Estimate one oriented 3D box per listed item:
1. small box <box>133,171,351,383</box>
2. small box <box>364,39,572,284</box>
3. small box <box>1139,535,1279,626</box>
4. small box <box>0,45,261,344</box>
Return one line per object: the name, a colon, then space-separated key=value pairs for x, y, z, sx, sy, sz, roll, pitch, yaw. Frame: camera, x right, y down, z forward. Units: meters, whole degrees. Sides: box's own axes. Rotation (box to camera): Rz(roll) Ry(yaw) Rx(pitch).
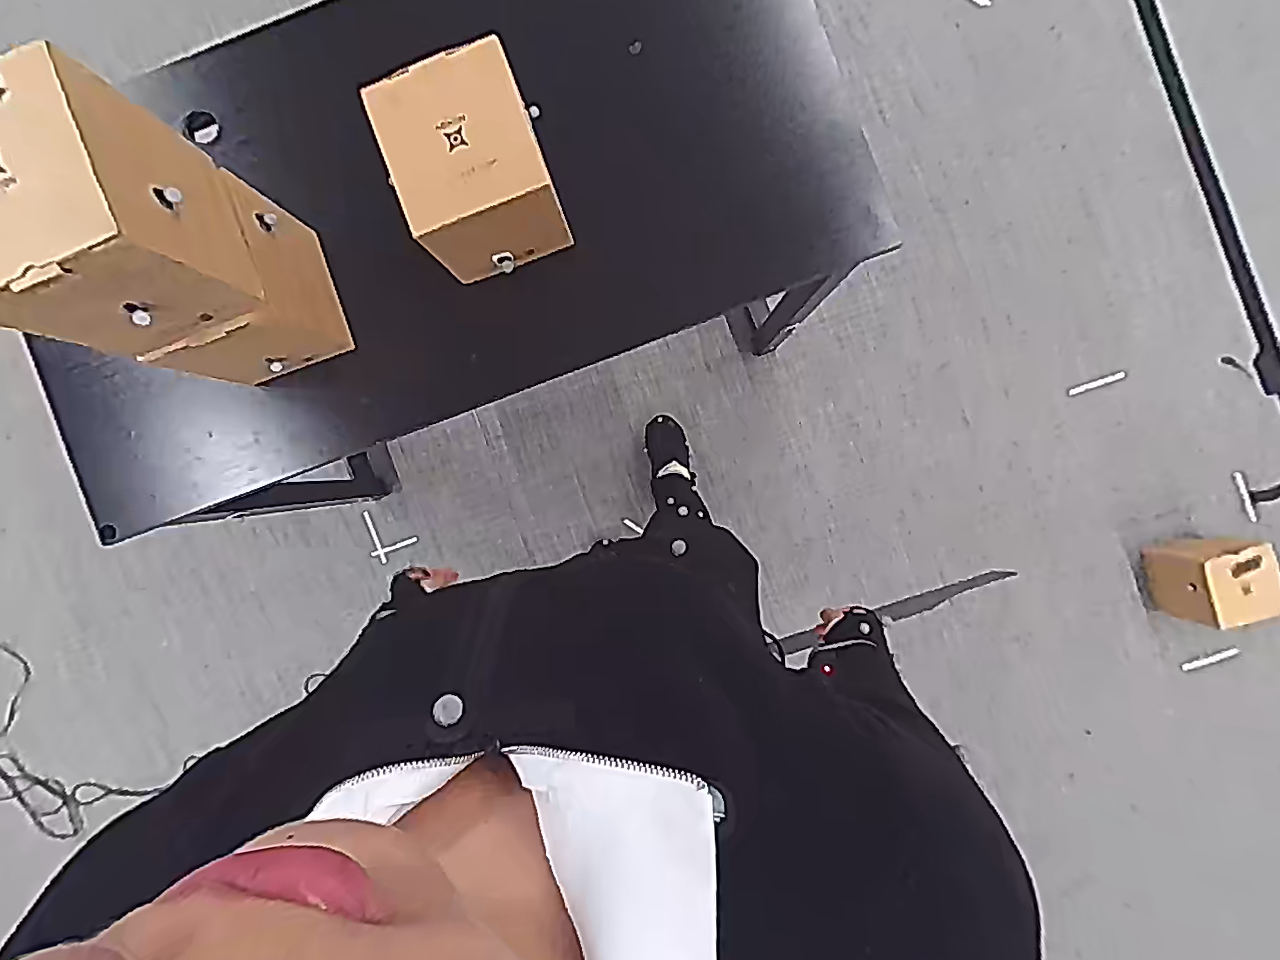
small box: x=-0.506 y=-0.239 z=0.682 sx=0.168 sy=0.176 sz=0.179 roll=-19 pitch=91 yaw=2
small box: x=-0.198 y=-0.377 z=0.674 sx=0.168 sy=0.176 sz=0.179 roll=-21 pitch=91 yaw=3
small box: x=1.432 y=0.246 z=1.373 sx=0.168 sy=0.176 sz=0.179 roll=-17 pitch=92 yaw=2
small box: x=-0.516 y=-0.244 z=0.518 sx=0.168 sy=0.176 sz=0.179 roll=-22 pitch=91 yaw=2
